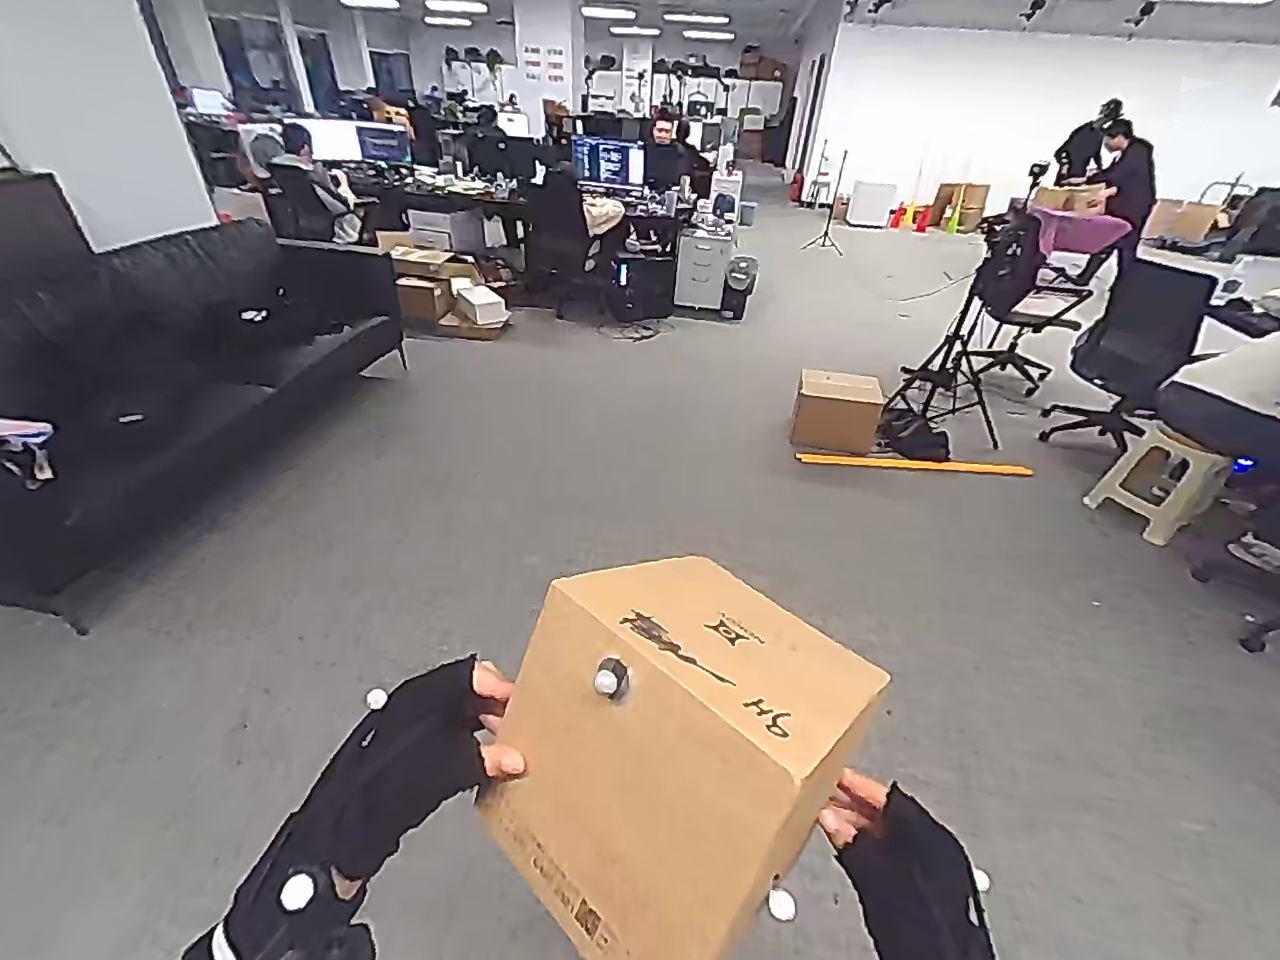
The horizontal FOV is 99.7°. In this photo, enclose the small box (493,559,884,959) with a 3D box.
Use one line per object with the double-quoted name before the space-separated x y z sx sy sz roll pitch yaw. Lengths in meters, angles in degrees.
"small box" 0.032 0.170 0.365 0.168 0.176 0.179 29 14 34
